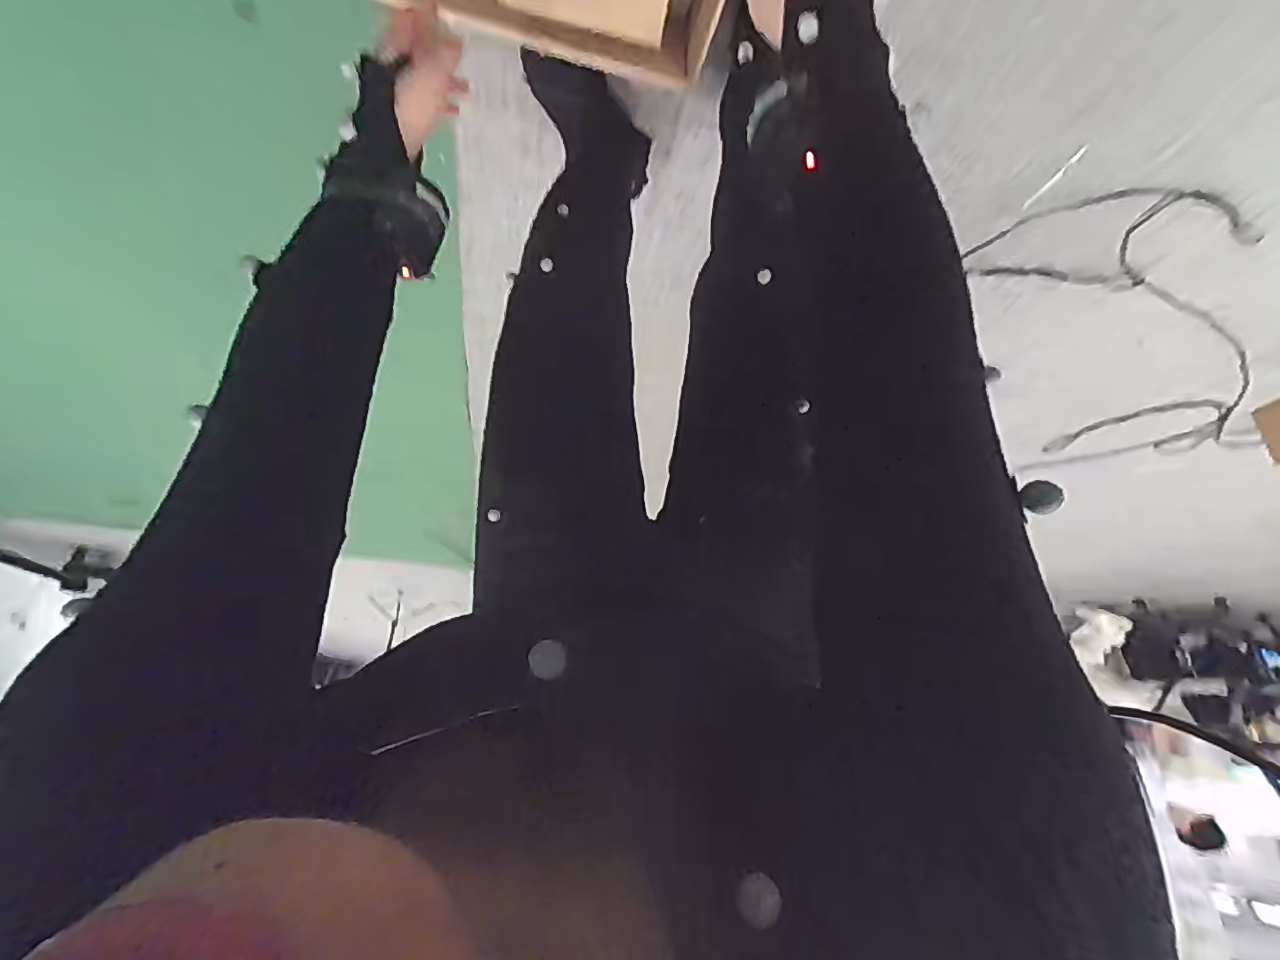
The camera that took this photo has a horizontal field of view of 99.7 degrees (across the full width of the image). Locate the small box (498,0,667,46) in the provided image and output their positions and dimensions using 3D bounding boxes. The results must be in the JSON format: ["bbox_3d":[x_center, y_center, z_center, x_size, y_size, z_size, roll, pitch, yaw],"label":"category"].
[{"bbox_3d":[-0.046,-0.588,0.537,0.179,0.176,0.168,6,154,-10],"label":"small box"}]

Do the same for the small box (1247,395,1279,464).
[{"bbox_3d":[1.756,-0.146,1.393,0.168,0.176,0.179,8,153,-9],"label":"small box"}]
